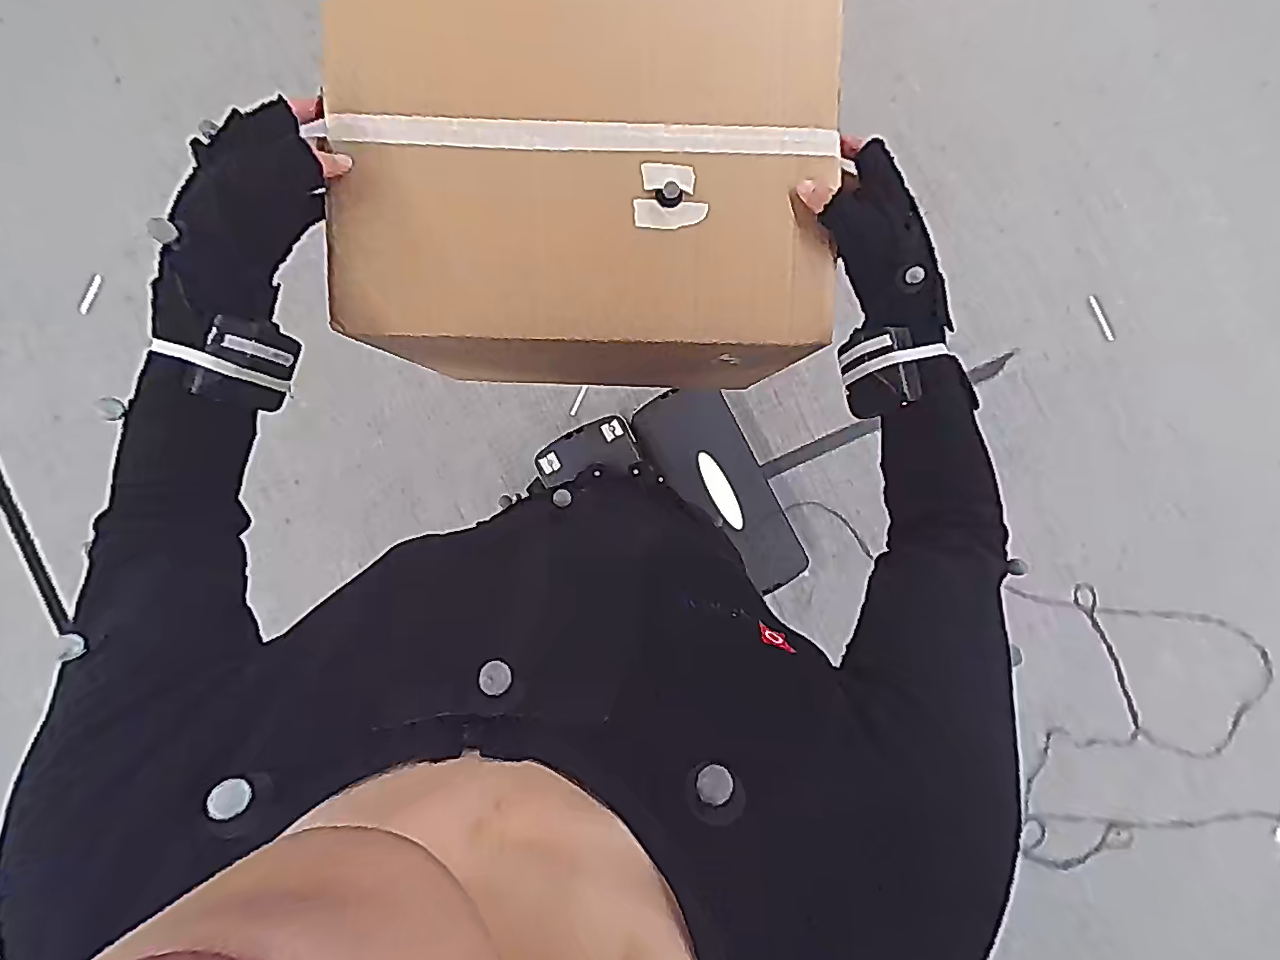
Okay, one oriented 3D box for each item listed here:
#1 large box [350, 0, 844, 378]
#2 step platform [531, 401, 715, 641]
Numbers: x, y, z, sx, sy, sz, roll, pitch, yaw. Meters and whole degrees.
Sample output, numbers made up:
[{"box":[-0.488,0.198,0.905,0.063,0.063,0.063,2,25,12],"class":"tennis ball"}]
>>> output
[{"box":[-0.041,-0.289,0.589,0.408,0.320,0.320,2,94,-2],"class":"large box"},{"box":[-0.048,0.116,1.585,0.286,0.204,0.684,-28,88,1],"class":"step platform"}]
